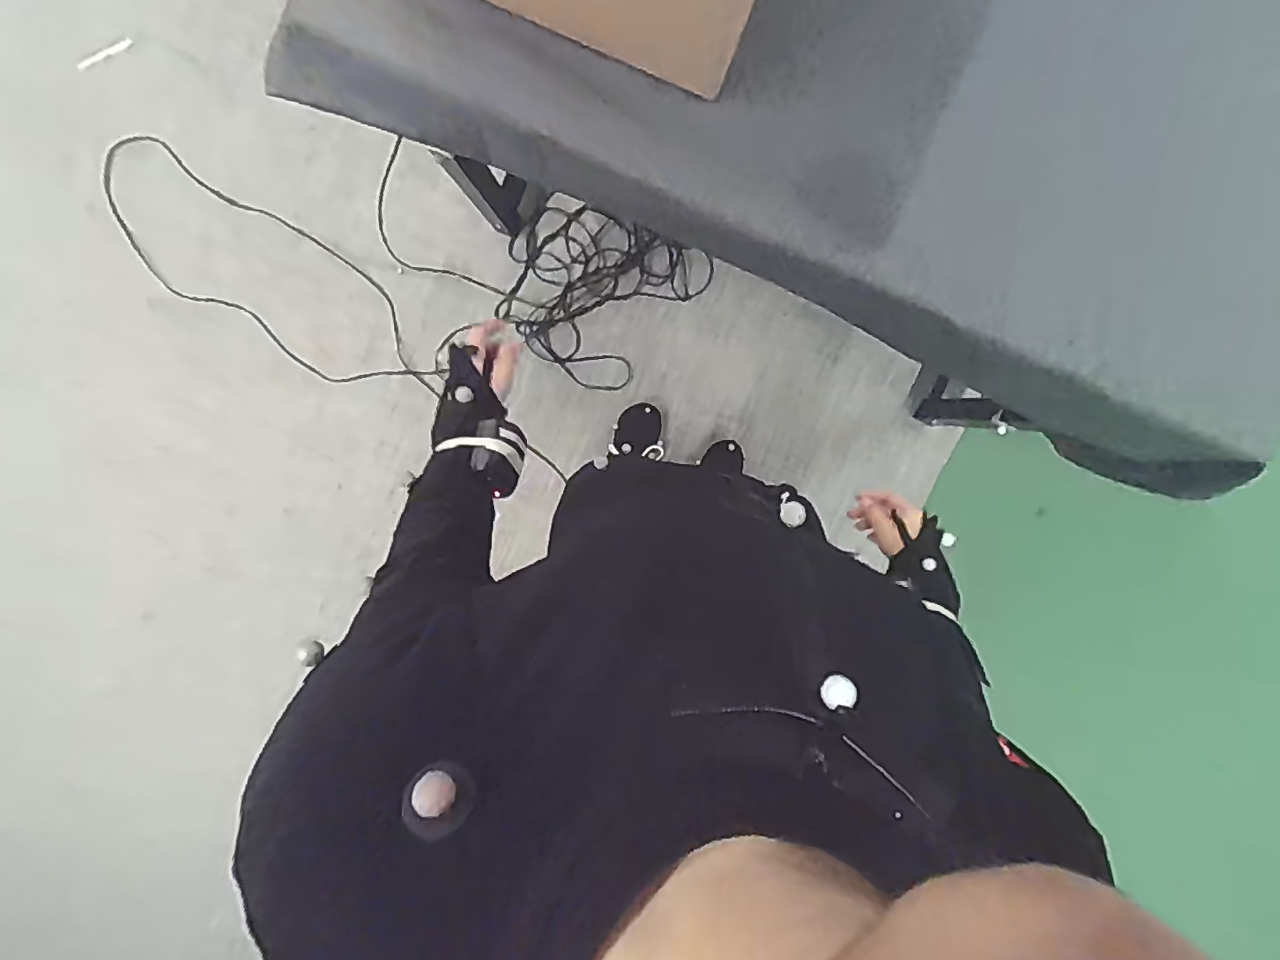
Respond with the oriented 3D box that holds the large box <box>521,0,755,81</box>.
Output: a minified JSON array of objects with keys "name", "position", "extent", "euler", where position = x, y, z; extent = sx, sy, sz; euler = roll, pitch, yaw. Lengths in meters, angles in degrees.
[{"name":"large box","position":[-0.040,-0.607,0.399],"extent":[0.408,0.320,0.320],"euler":[21,98,-5]}]
